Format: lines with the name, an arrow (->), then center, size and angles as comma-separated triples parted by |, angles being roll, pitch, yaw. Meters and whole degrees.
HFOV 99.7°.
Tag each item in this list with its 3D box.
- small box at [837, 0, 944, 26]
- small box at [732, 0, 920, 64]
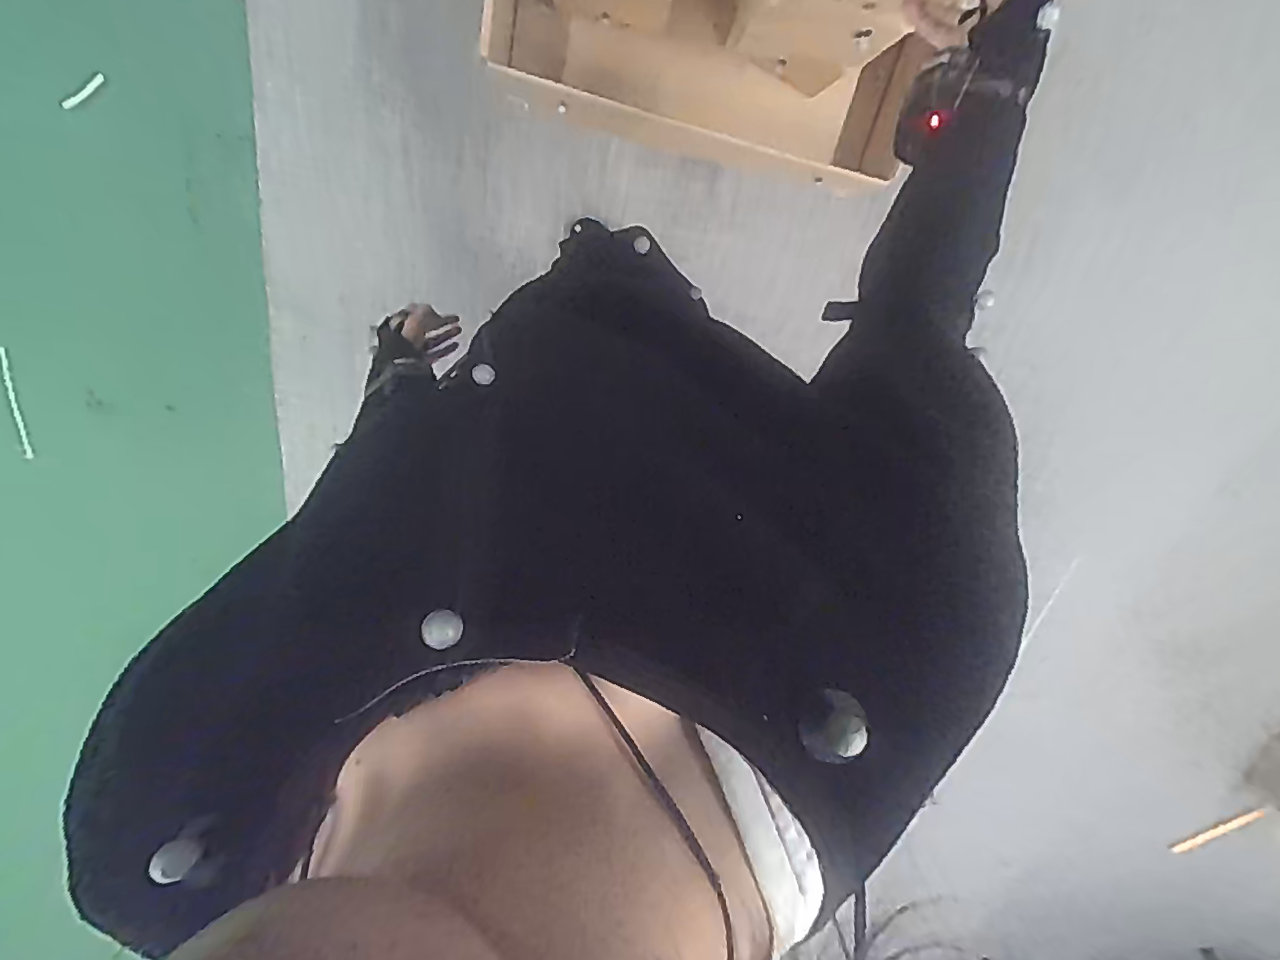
small box -> 0.226, -0.525, 0.449 | 0.168, 0.176, 0.179 | 12, 113, -6
small box -> 0.212, -0.588, 0.598 | 0.179, 0.176, 0.168 | 4, 113, -3
